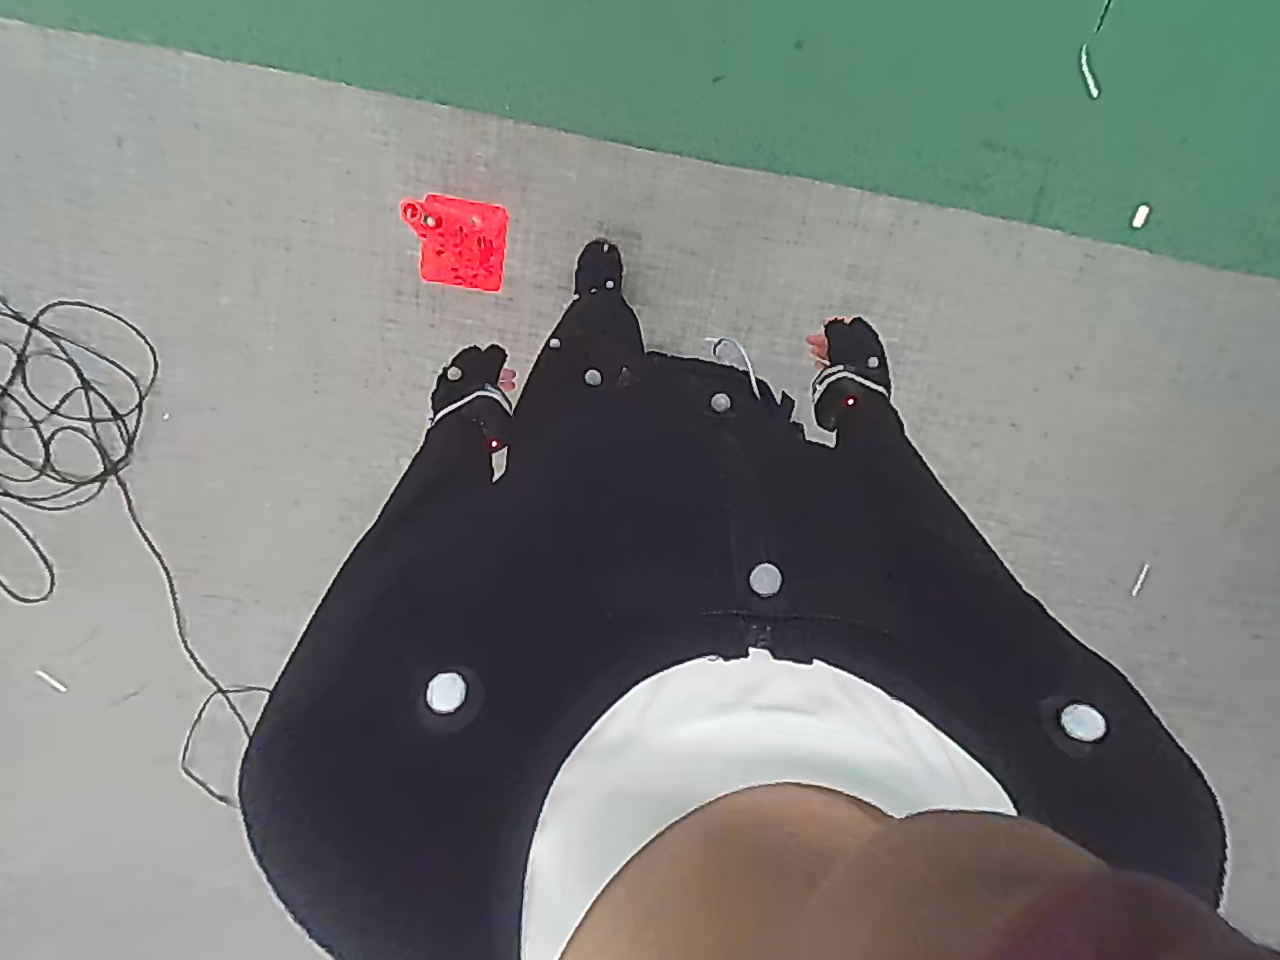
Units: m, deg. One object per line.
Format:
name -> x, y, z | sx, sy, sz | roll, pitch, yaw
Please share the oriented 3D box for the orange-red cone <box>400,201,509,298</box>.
orange-red cone -> -0.420, -0.515, 1.152 | 0.198, 0.360, 0.199 | 9, 105, -4
